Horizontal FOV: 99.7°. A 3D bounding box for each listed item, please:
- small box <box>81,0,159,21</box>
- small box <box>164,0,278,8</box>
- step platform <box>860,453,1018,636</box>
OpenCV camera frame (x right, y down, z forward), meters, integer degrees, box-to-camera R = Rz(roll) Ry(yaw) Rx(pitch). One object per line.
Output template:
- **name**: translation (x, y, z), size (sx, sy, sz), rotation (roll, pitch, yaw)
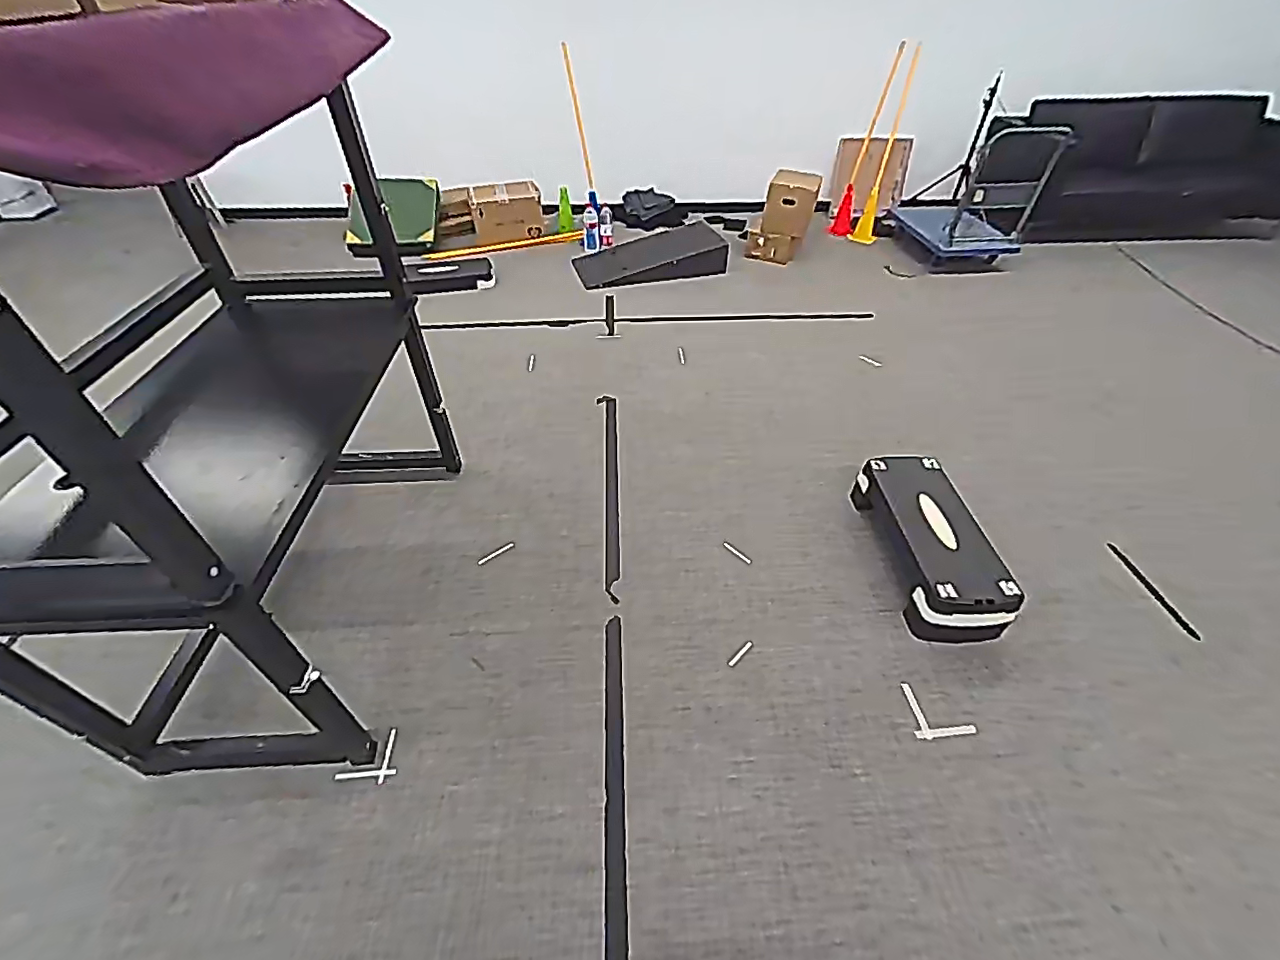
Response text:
- **small box**: translation (-0.885, -0.805, 0.811), size (0.168, 0.176, 0.179), rotation (-6, 44, -5)
- **small box**: translation (-0.857, -1.046, 1.063), size (0.168, 0.176, 0.179), rotation (0, 43, 2)
- **step platform**: translation (0.999, 0.186, 1.873), size (0.286, 0.204, 0.684), rotation (2, 42, 2)
